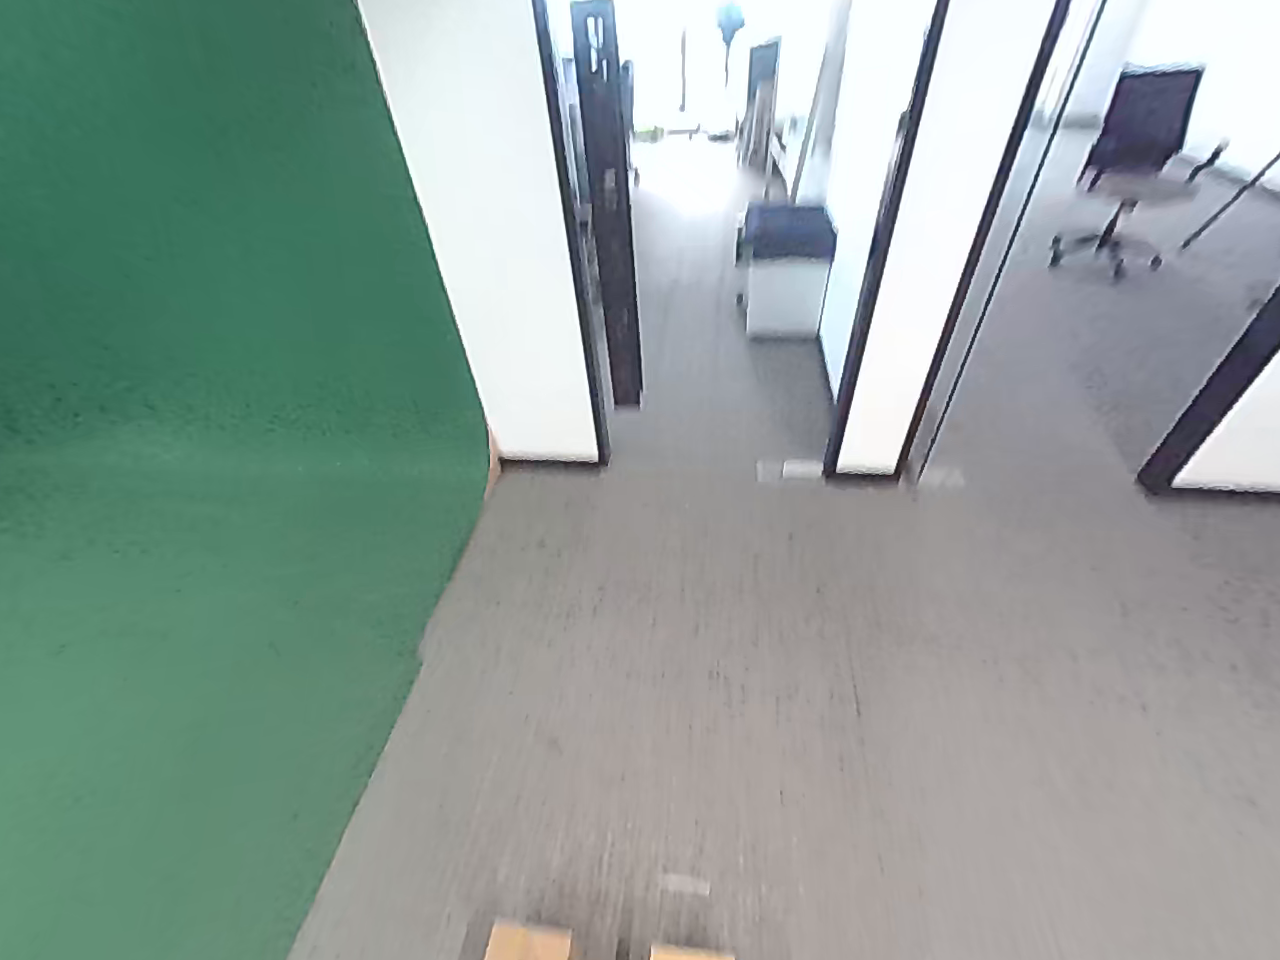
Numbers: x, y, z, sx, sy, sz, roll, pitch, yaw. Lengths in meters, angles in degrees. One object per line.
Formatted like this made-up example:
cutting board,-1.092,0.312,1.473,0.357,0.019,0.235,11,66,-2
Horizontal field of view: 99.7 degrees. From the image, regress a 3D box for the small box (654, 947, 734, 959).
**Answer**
small box,0.102,1.042,1.046,0.168,0.176,0.179,2,44,8
